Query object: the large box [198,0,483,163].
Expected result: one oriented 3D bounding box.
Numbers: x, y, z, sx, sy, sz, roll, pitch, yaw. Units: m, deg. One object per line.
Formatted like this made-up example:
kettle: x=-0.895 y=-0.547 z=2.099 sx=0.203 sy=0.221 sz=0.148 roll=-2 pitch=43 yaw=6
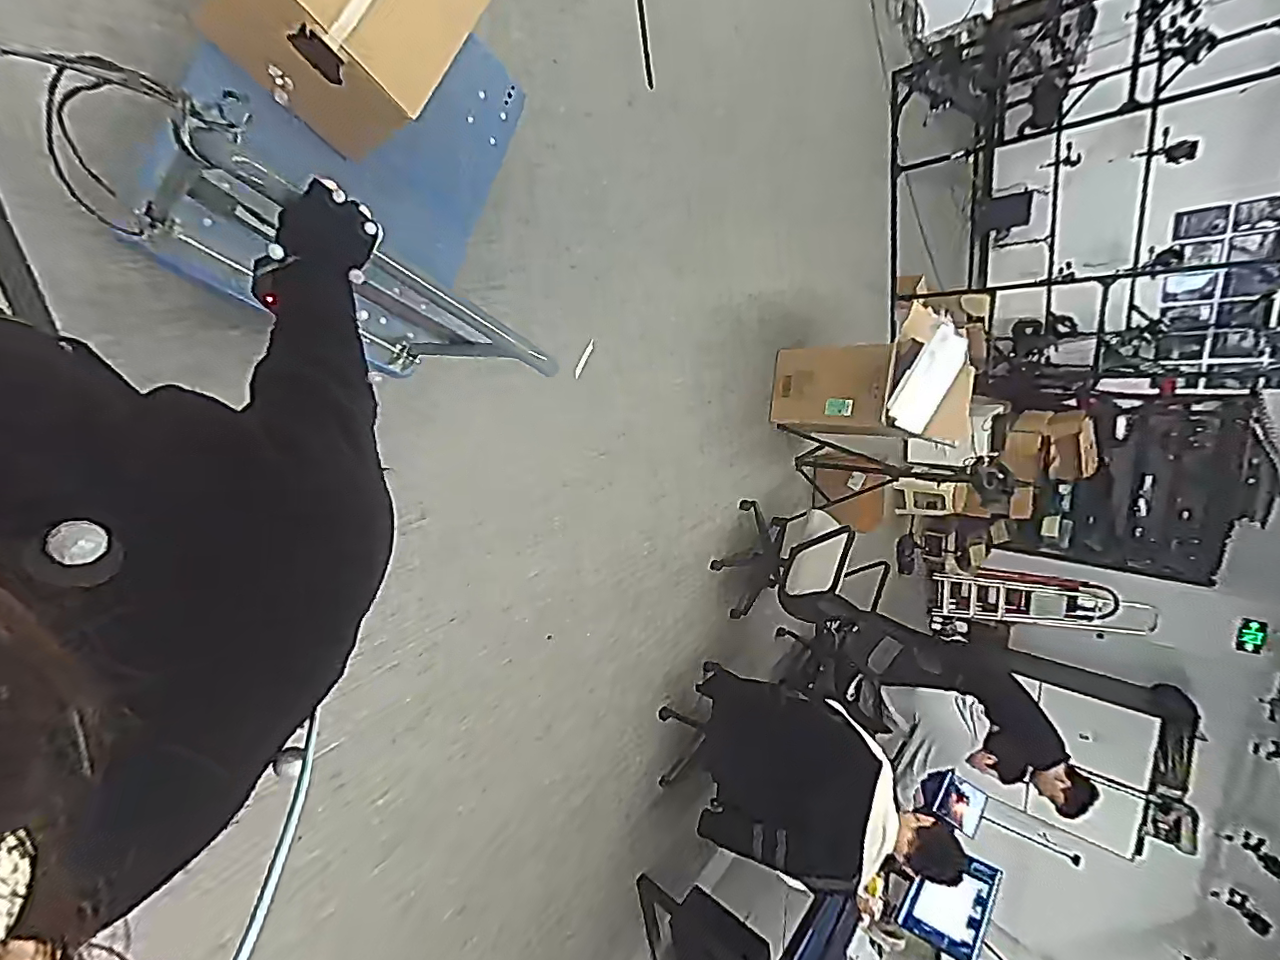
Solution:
large box: x=-0.549 y=-0.917 z=1.032 sx=0.320 sy=0.320 sz=0.408 roll=35 pitch=71 yaw=-45
